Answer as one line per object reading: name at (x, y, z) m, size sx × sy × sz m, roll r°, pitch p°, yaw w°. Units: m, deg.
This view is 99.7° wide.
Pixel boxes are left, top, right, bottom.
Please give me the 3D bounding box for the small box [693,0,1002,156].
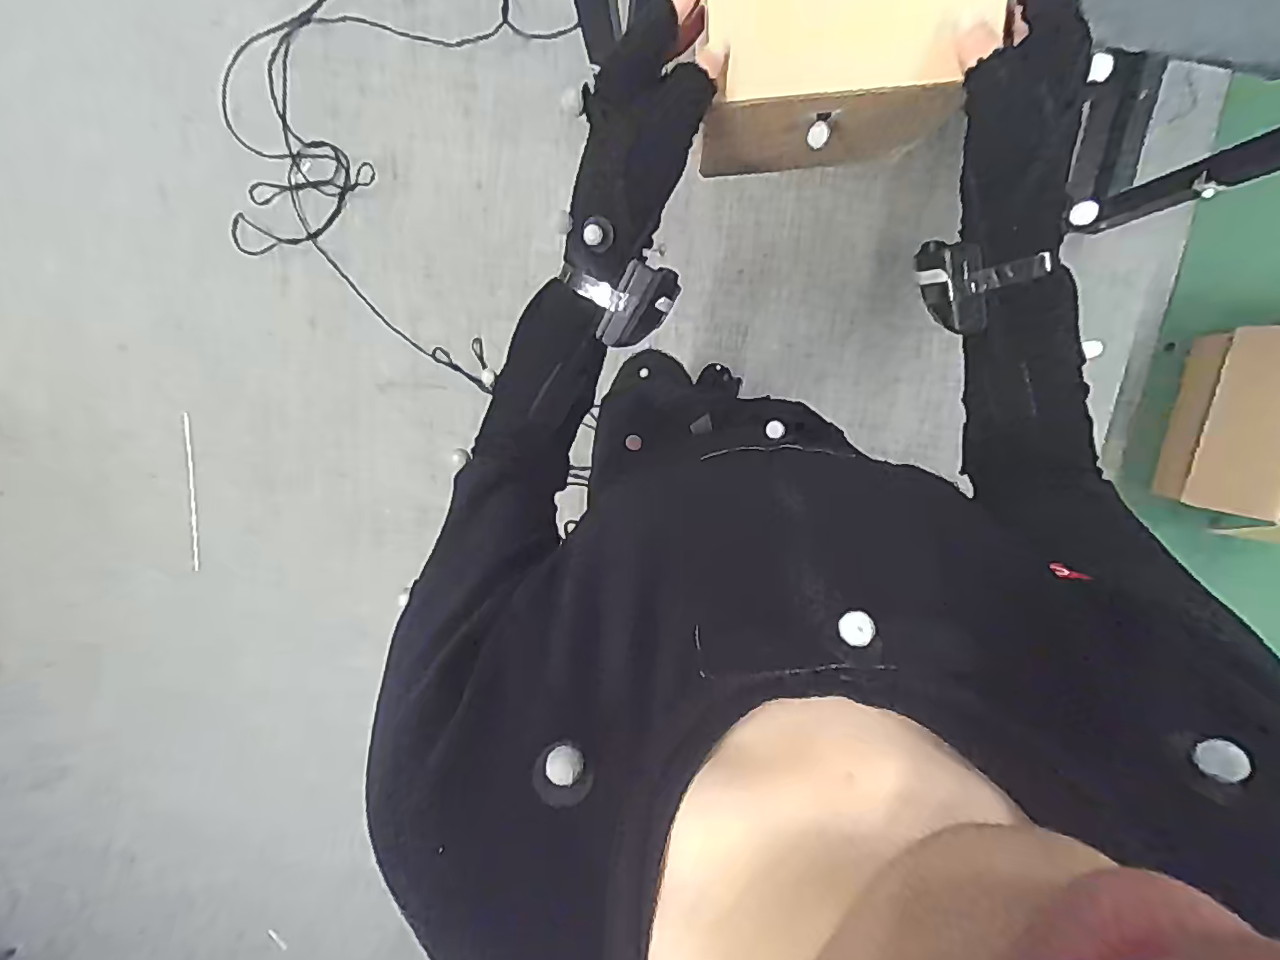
small box at (0.126, -0.346, 0.378) m, size 0.179 × 0.176 × 0.168 m, roll -1°, pitch 106°, yaw 7°
